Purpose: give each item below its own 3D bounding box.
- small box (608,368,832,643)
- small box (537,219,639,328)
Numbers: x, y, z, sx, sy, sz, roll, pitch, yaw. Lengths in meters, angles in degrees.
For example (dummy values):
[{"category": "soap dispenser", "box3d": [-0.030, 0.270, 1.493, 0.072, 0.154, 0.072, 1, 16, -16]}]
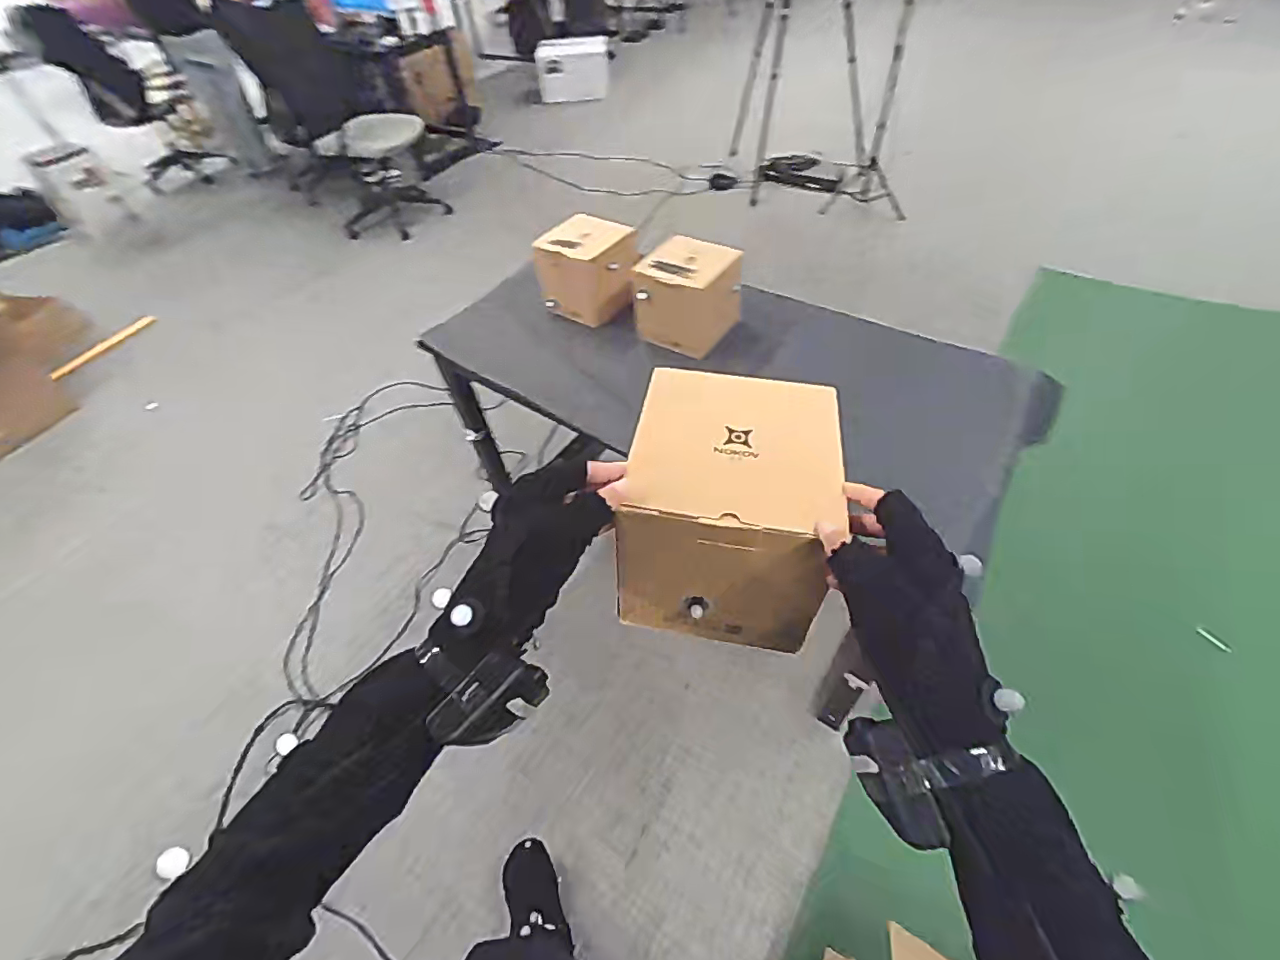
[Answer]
[{"category": "small box", "box3d": [0.067, 0.023, 0.500, 0.168, 0.176, 0.179, 7, 47, 6]}, {"category": "small box", "box3d": [-0.113, -0.489, 1.288, 0.168, 0.176, 0.179, 27, 57, 25]}]
